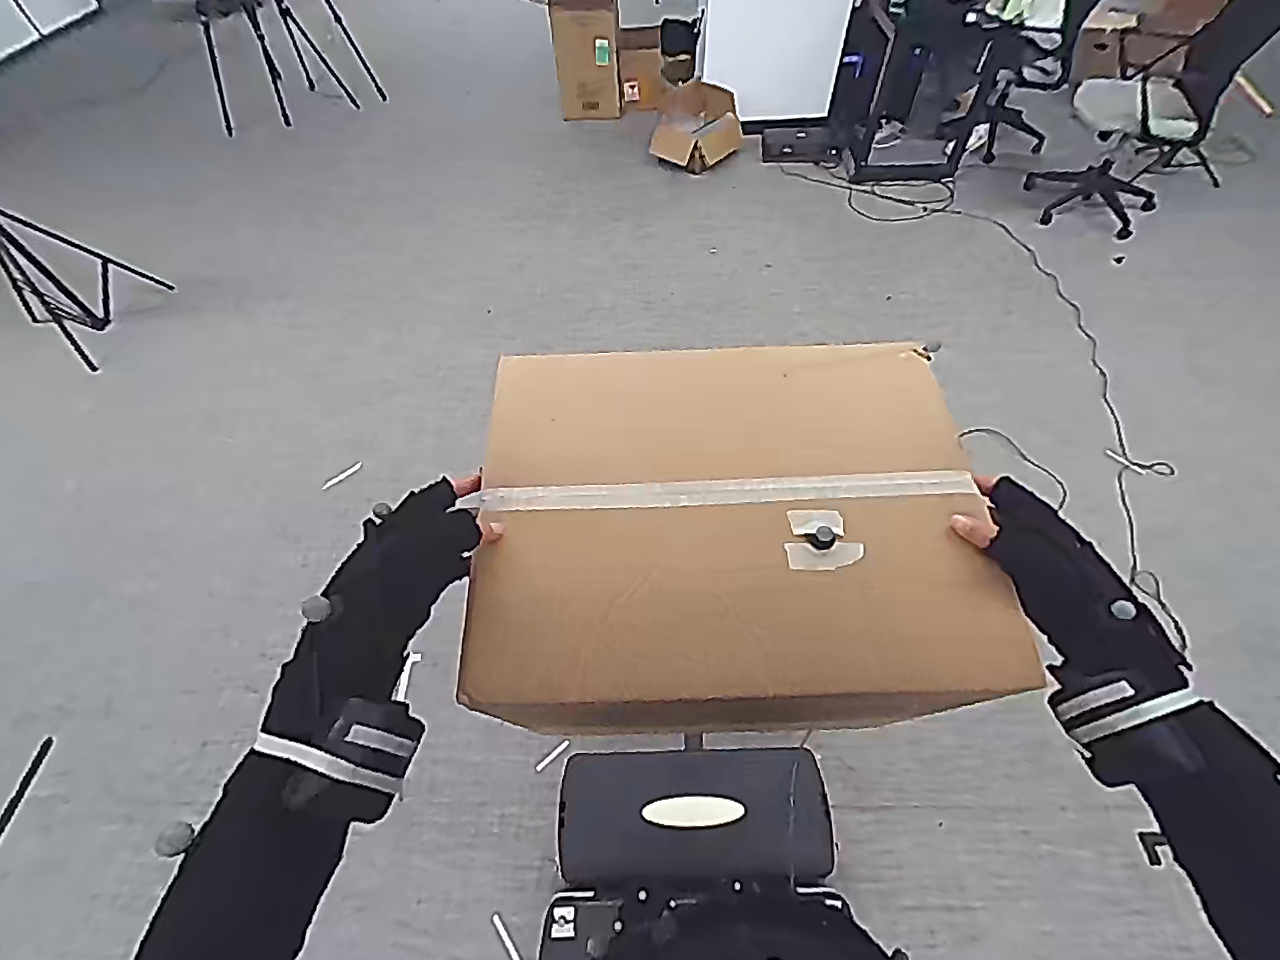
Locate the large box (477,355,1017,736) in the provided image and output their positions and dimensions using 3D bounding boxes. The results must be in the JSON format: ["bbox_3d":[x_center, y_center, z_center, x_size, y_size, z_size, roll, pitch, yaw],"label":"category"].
[{"bbox_3d":[0.073,0.090,0.591,0.408,0.320,0.320,-2,61,0],"label":"large box"}]

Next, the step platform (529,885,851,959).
[{"bbox_3d":[0.103,1.056,1.157,0.684,0.204,0.286,-3,55,2],"label":"step platform"}]
